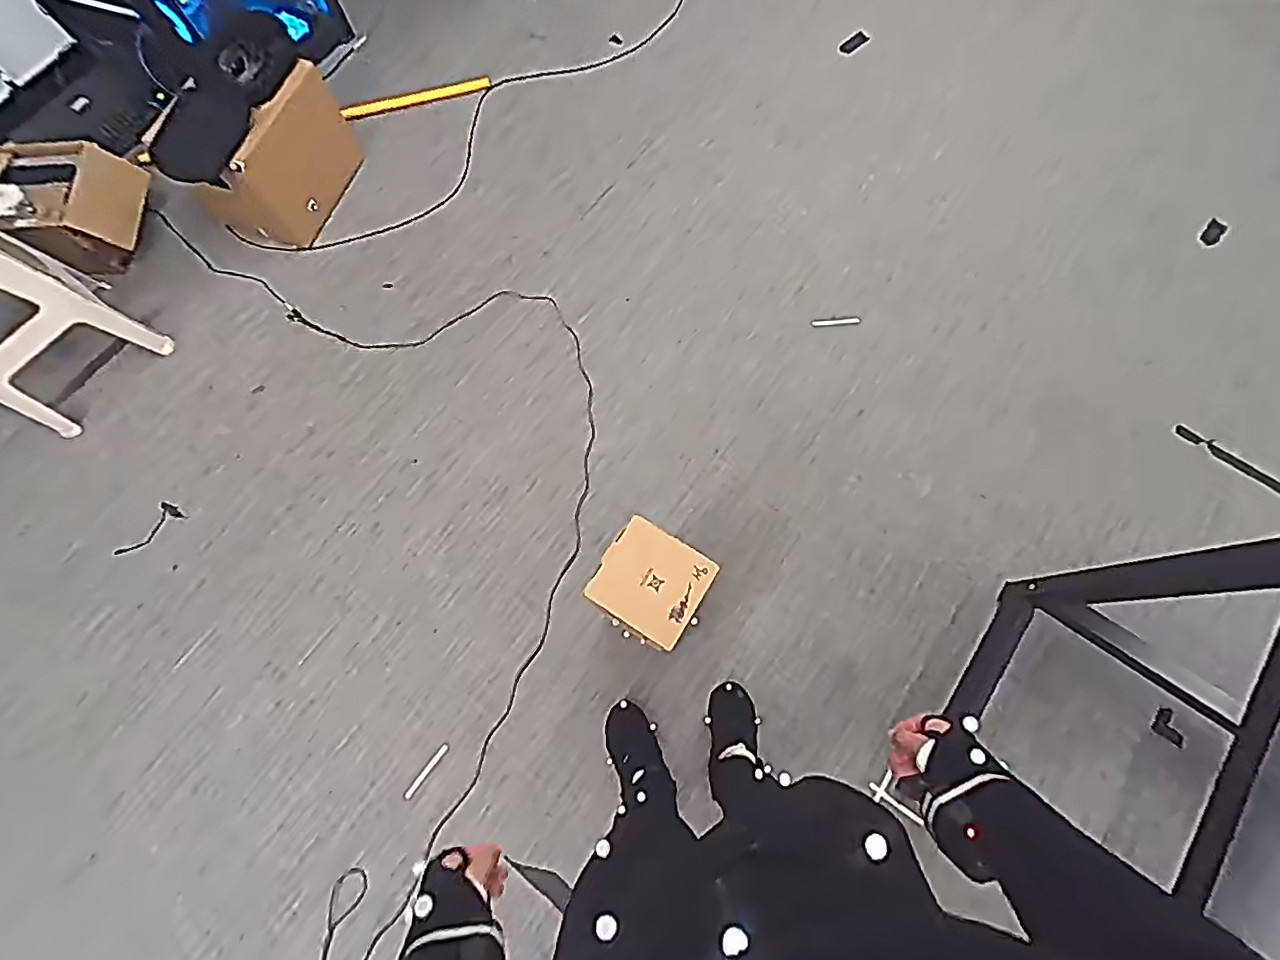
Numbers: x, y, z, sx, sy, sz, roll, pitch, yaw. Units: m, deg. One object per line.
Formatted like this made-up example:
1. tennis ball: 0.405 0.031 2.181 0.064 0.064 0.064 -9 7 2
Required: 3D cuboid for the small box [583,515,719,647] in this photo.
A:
1. small box: 0.020 0.192 0.987 0.179 0.176 0.168 31 76 10
